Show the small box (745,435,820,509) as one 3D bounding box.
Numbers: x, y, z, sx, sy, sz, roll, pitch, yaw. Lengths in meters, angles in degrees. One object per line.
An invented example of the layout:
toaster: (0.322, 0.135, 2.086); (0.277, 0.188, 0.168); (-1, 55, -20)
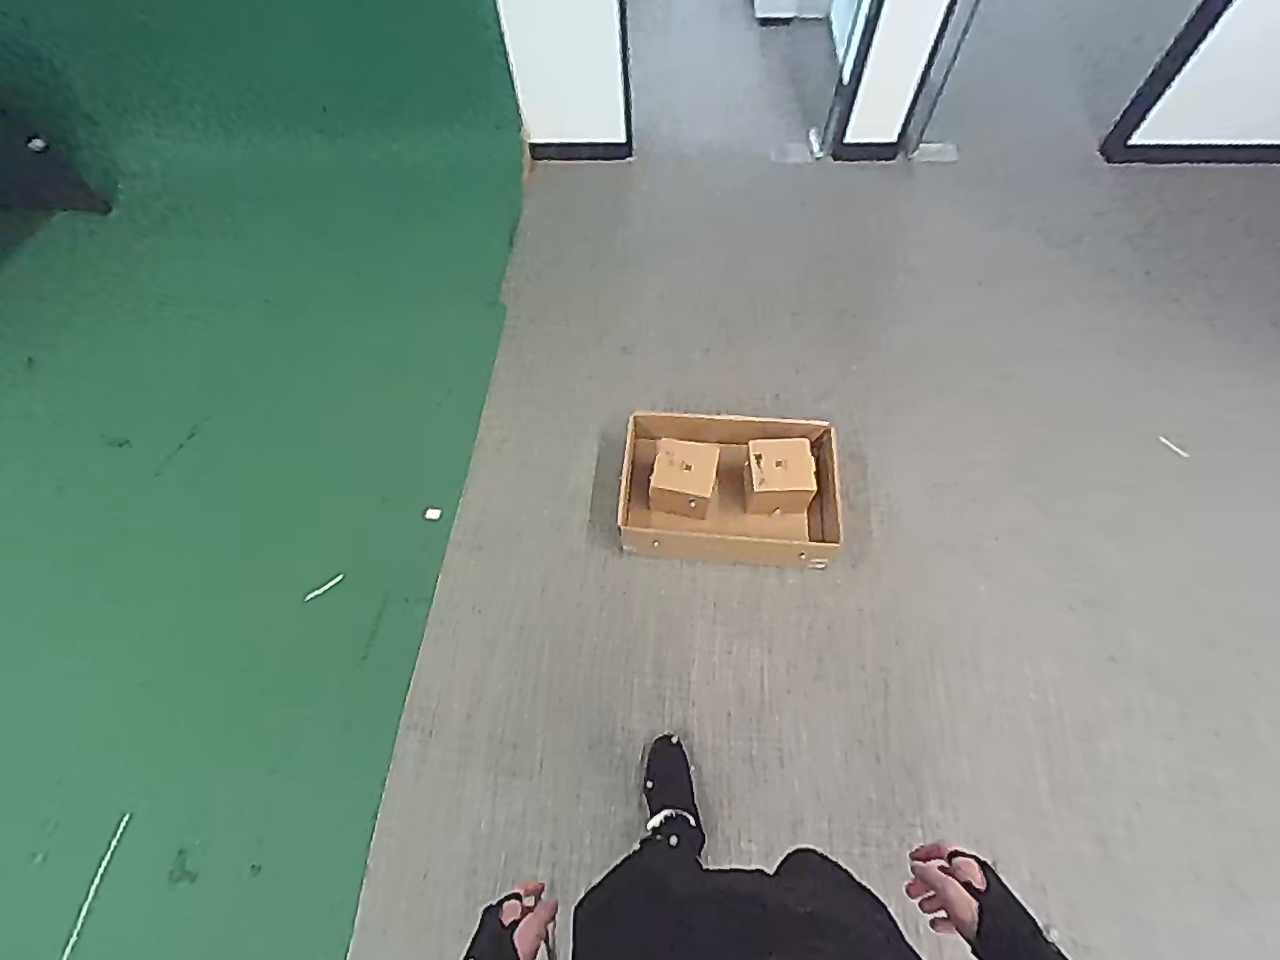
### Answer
small box: (0.410, -0.019, 1.584); (0.179, 0.176, 0.168); (-1, 64, 3)
